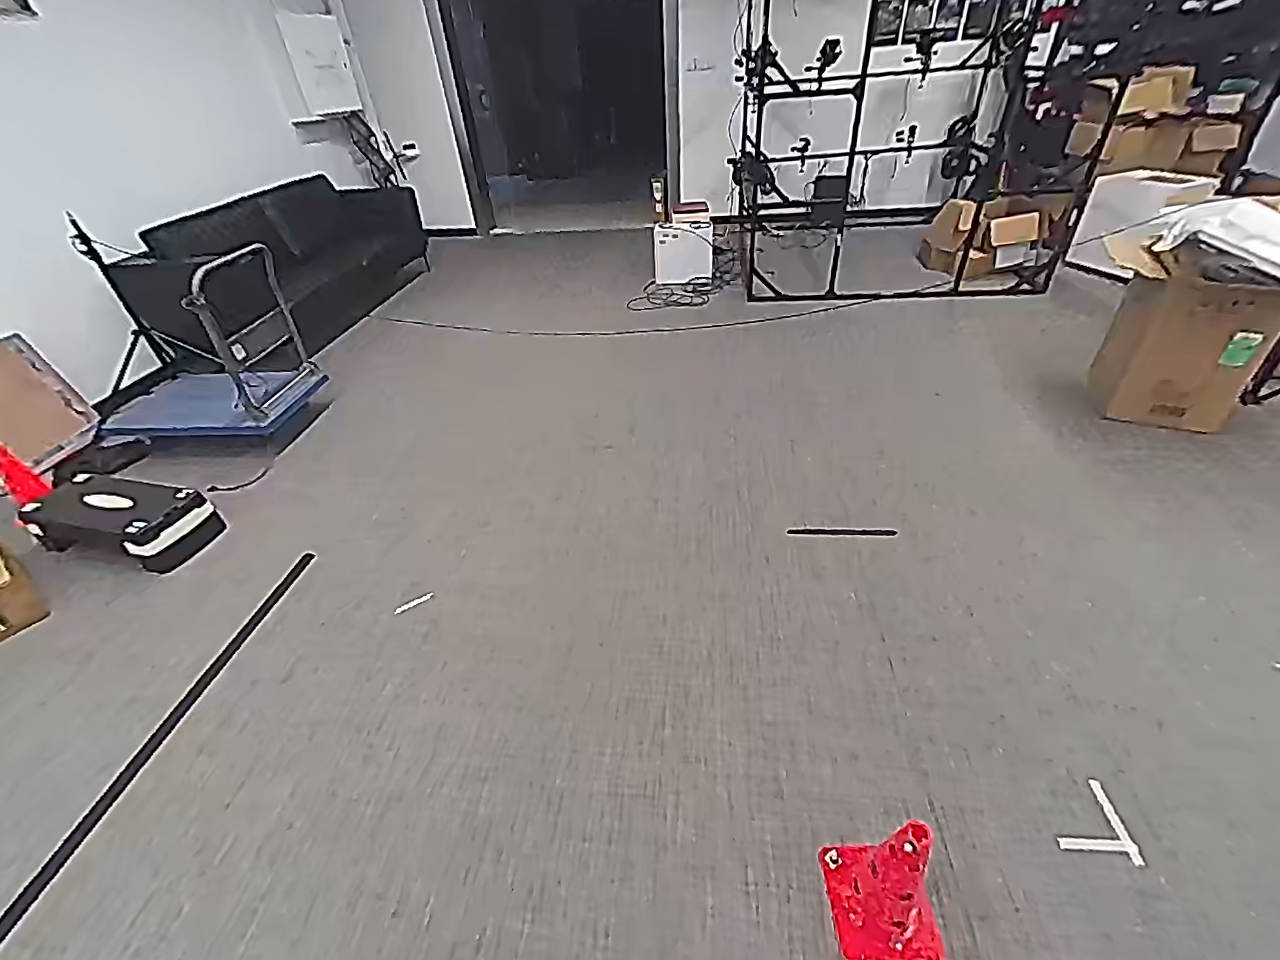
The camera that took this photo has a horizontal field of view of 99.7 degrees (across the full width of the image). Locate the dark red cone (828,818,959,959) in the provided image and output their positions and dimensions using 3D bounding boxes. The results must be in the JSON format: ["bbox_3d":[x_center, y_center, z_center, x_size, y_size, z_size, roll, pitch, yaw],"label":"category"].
[{"bbox_3d":[0.485,0.706,0.977,0.202,0.394,0.201,-4,38,1],"label":"dark red cone"}]
